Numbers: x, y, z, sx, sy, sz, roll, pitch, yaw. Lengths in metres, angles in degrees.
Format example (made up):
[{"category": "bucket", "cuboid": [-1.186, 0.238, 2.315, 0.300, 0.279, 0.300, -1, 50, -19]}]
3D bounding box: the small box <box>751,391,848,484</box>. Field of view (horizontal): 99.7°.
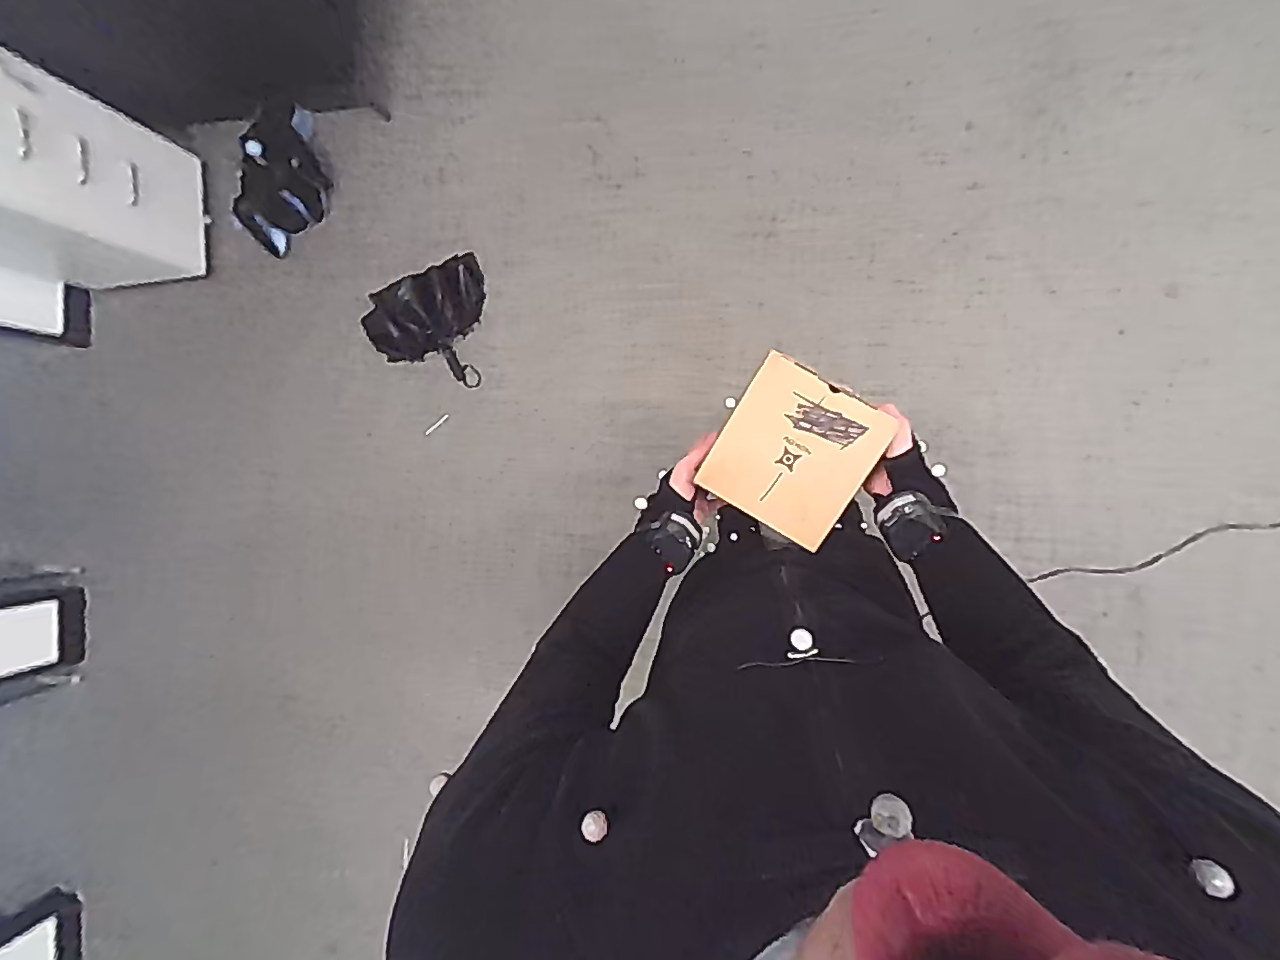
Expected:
[{"category": "small box", "cuboid": [0.410, -0.107, 1.412, 0.179, 0.176, 0.168, 46, 102, 7]}]
